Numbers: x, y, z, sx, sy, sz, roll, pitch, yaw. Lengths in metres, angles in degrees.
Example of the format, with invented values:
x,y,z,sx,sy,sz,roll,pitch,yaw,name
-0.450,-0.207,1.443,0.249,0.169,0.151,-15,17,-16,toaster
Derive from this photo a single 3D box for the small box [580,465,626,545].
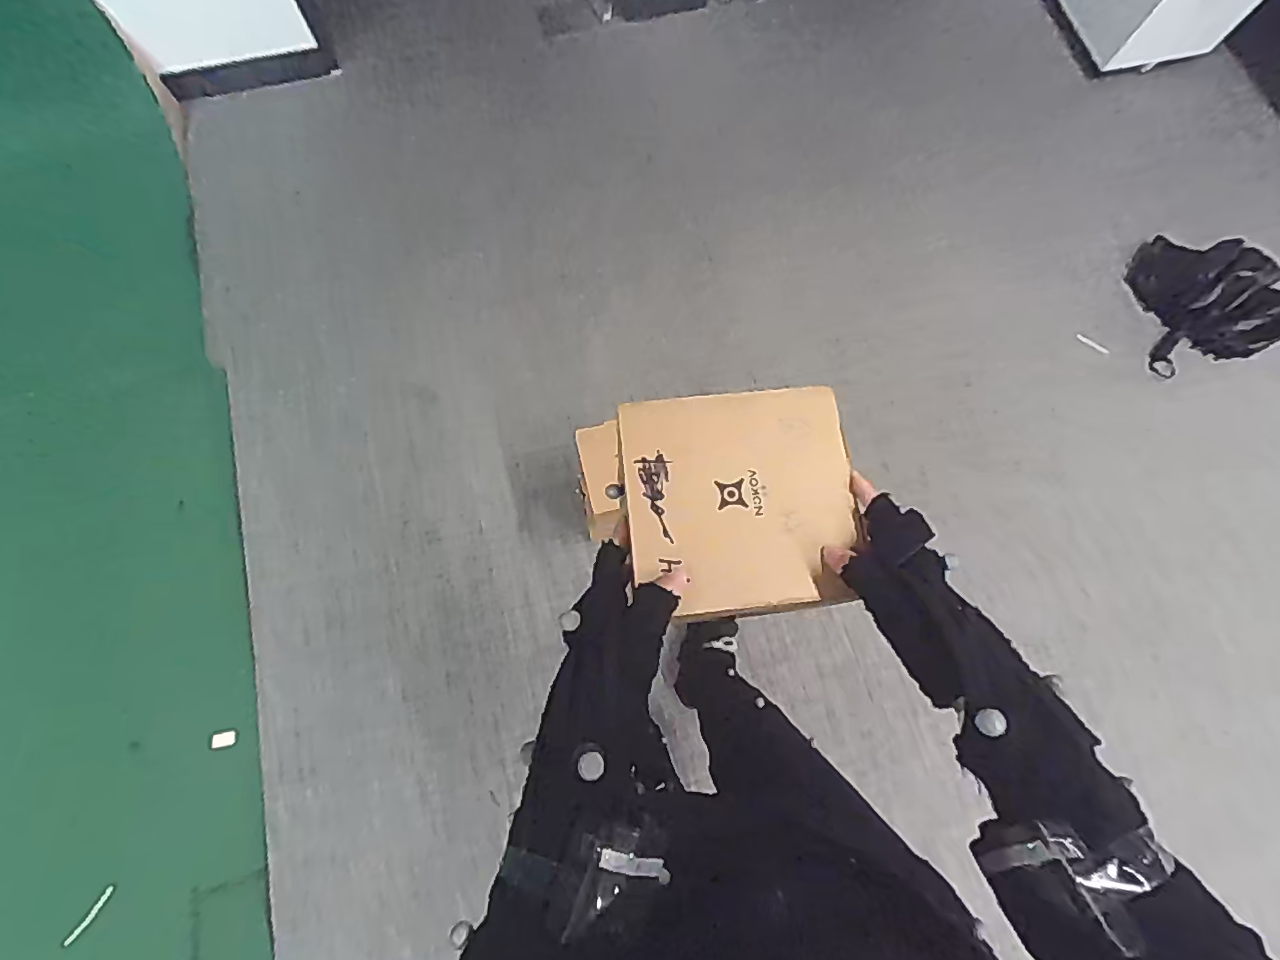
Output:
x,y,z,sx,sy,sz,roll,pitch,yaw,name
-0.036,0.050,1.277,0.179,0.176,0.168,-12,75,-6,small box

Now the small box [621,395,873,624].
x,y,z,sx,sy,sz,roll,pitch,yaw,name
0.077,0.037,0.492,0.179,0.176,0.168,-5,72,-4,small box

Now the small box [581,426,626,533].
x,y,z,sx,sy,sz,roll,pitch,yaw,name
-0.021,-0.003,1.125,0.168,0.176,0.179,-14,76,-4,small box
